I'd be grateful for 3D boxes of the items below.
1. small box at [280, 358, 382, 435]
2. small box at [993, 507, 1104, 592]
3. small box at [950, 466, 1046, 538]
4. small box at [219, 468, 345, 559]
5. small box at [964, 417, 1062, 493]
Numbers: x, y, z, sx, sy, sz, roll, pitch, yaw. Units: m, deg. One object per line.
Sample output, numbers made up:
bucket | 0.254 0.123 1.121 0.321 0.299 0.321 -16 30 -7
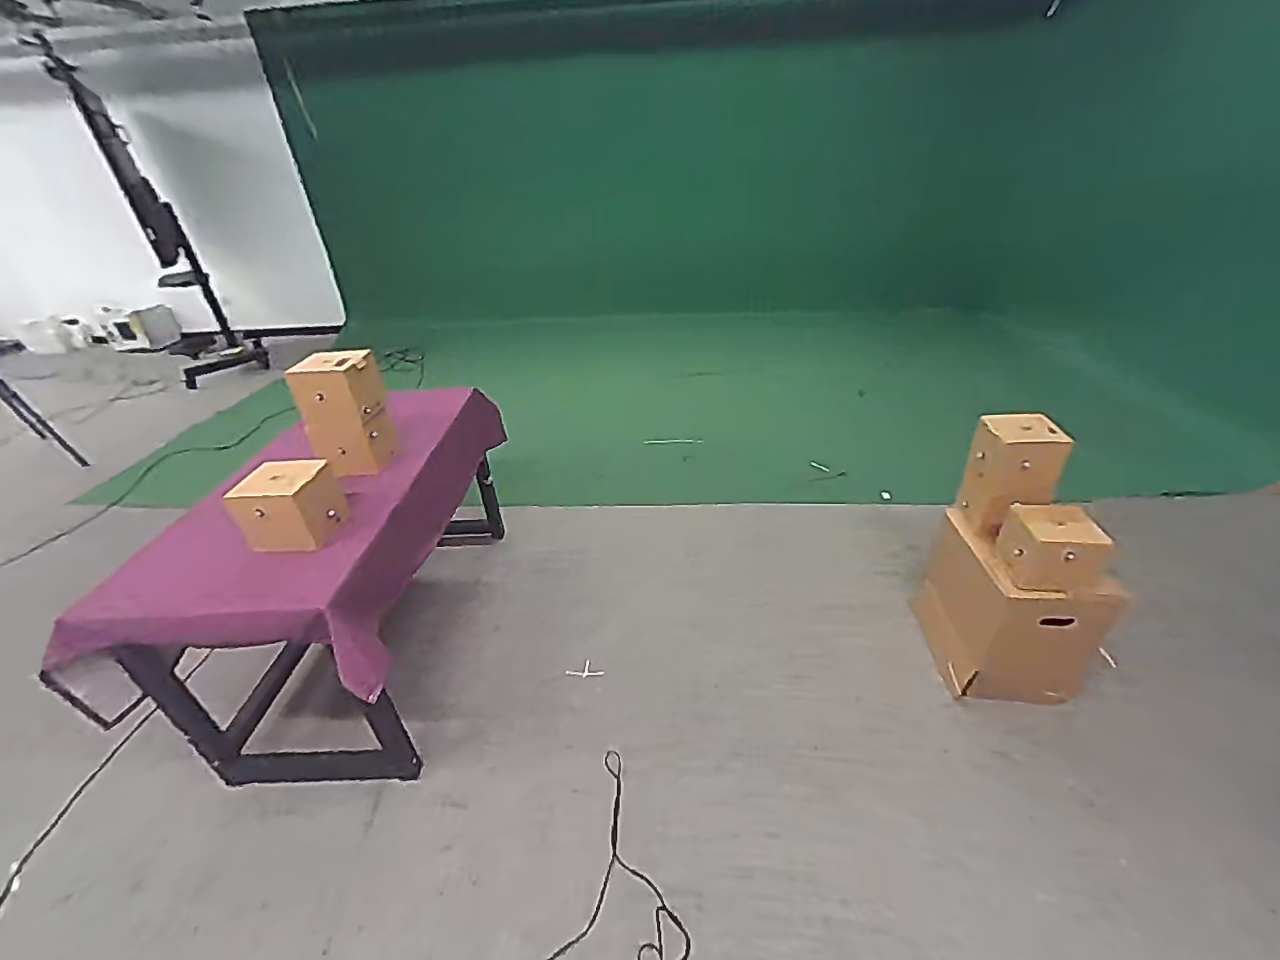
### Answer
small box | -0.886 -0.242 1.572 0.179 0.176 0.168 -3 32 5
small box | 1.097 0.189 1.475 0.179 0.176 0.168 1 31 7
small box | 1.100 0.066 1.678 0.179 0.176 0.168 -2 33 6
small box | -0.885 0.086 1.356 0.179 0.176 0.168 -2 32 3
small box | 1.082 -0.072 1.591 0.179 0.176 0.168 -2 33 7
